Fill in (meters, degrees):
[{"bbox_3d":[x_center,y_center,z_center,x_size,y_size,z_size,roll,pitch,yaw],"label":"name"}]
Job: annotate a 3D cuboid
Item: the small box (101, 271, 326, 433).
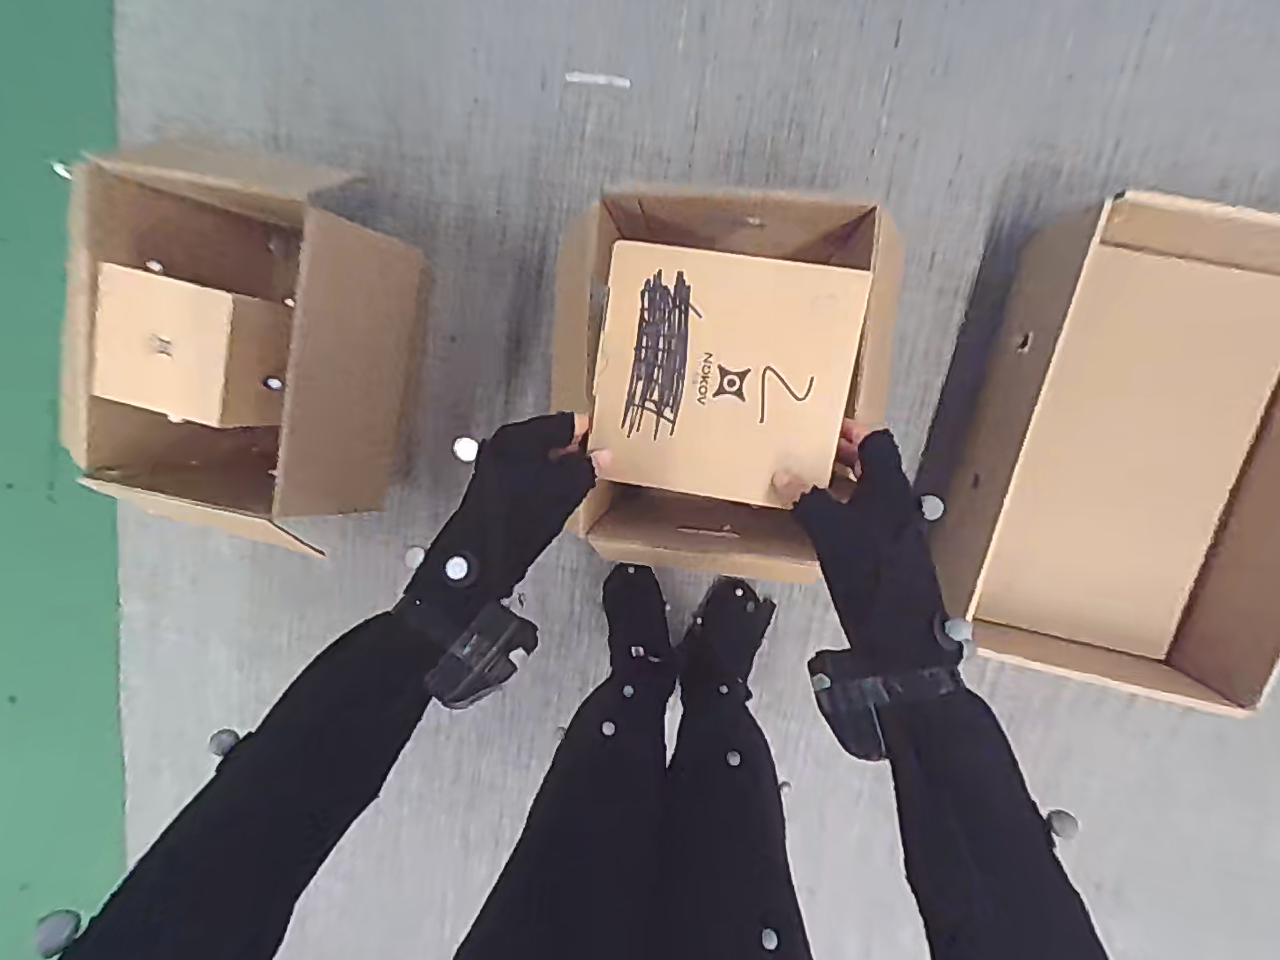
[{"bbox_3d":[-0.571,-0.168,0.745,0.179,0.176,0.168,14,99,4],"label":"small box"}]
